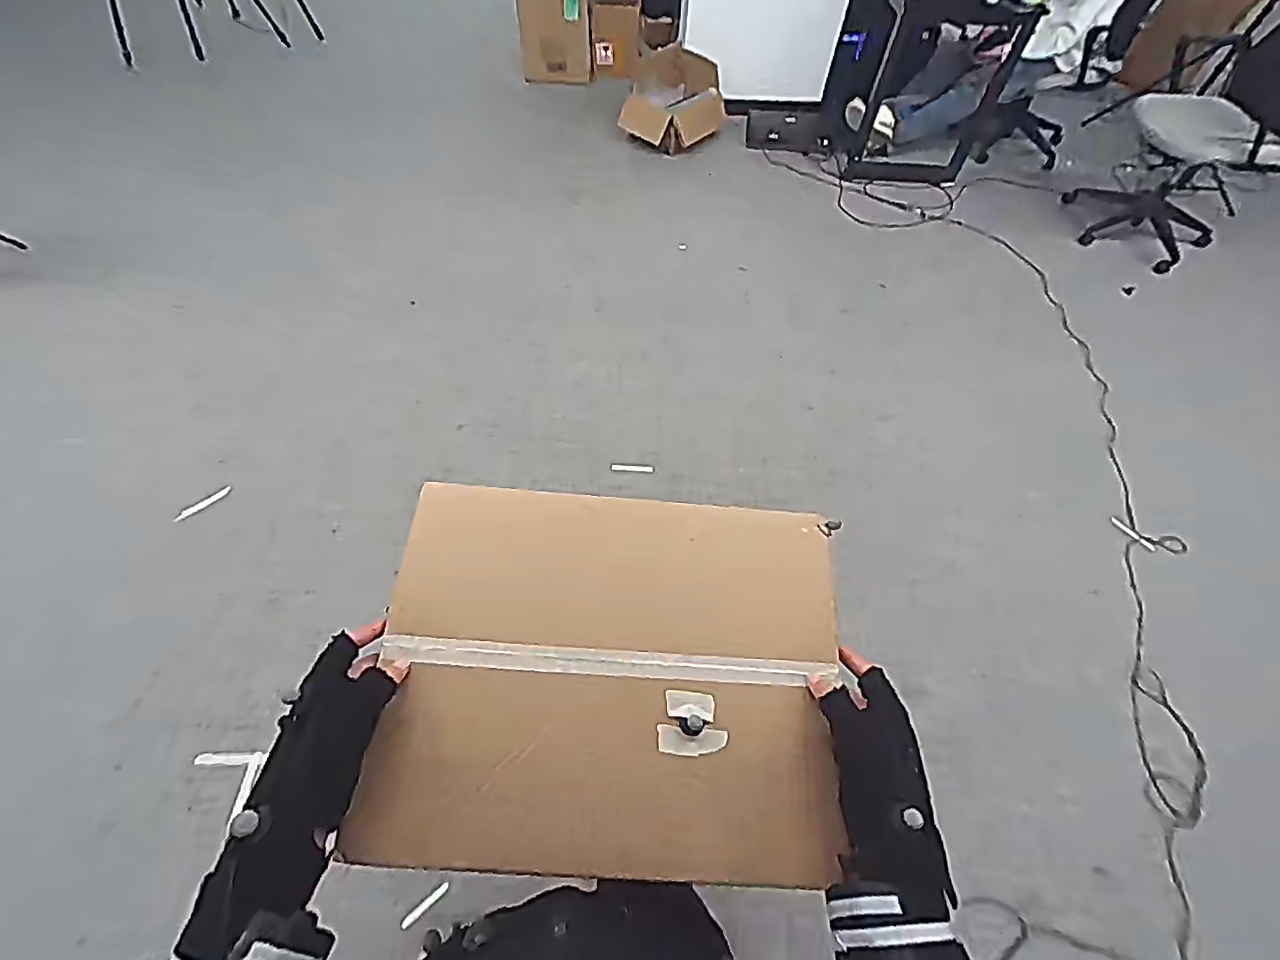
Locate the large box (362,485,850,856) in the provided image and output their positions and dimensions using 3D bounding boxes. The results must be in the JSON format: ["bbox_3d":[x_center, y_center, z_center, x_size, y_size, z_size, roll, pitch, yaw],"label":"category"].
[{"bbox_3d":[-0.031,0.220,0.630,0.408,0.320,0.320,5,66,-3],"label":"large box"}]
